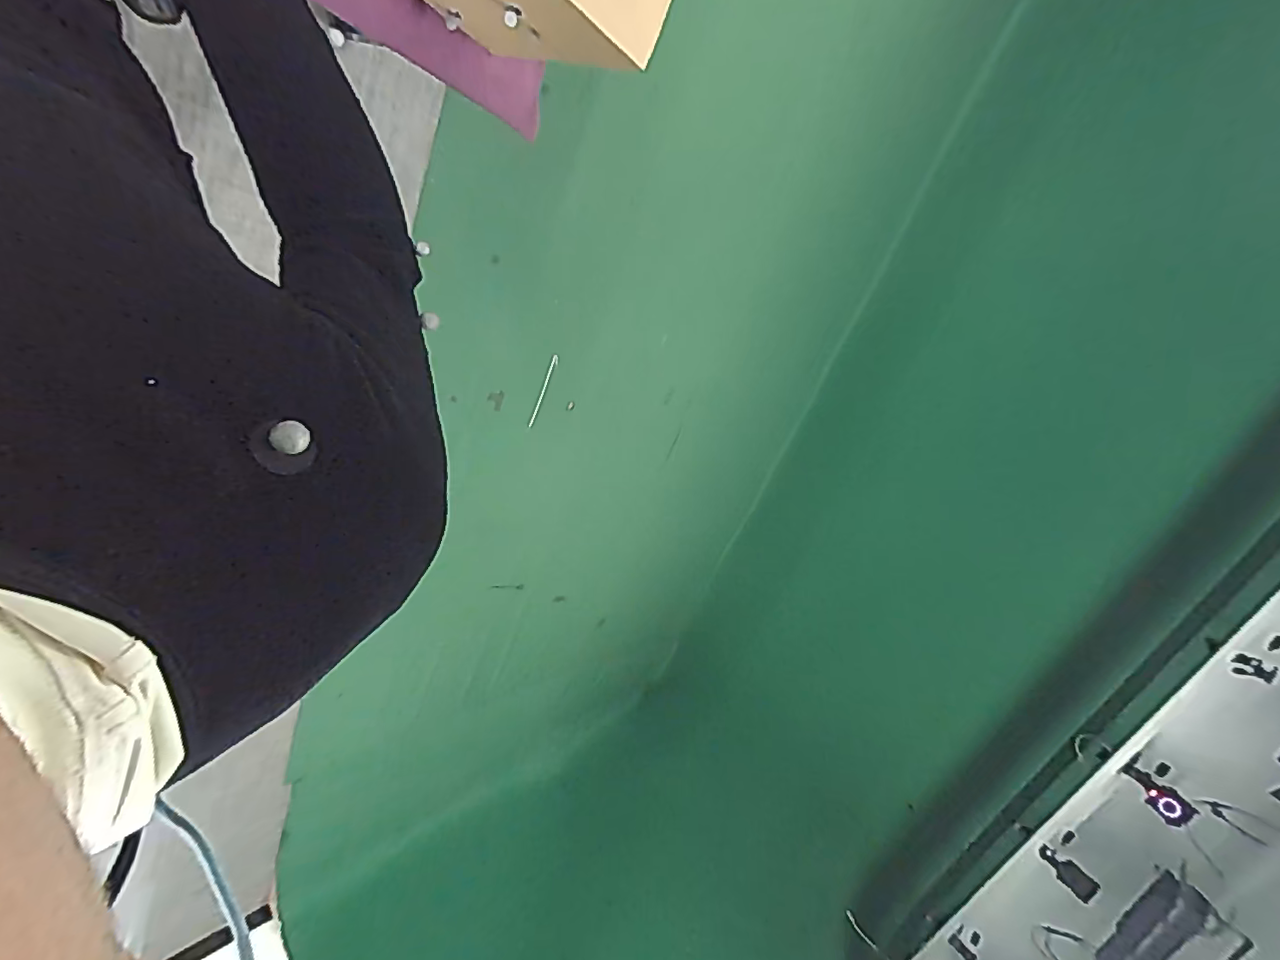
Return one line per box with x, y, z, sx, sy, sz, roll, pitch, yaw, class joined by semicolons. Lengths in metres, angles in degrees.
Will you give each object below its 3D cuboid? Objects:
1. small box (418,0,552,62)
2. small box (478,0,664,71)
-0.188;-0.654;0.653;0.179;0.176;0.168;2;118;-52;small box
-0.074;-0.577;0.565;0.168;0.176;0.179;3;118;-50;small box
